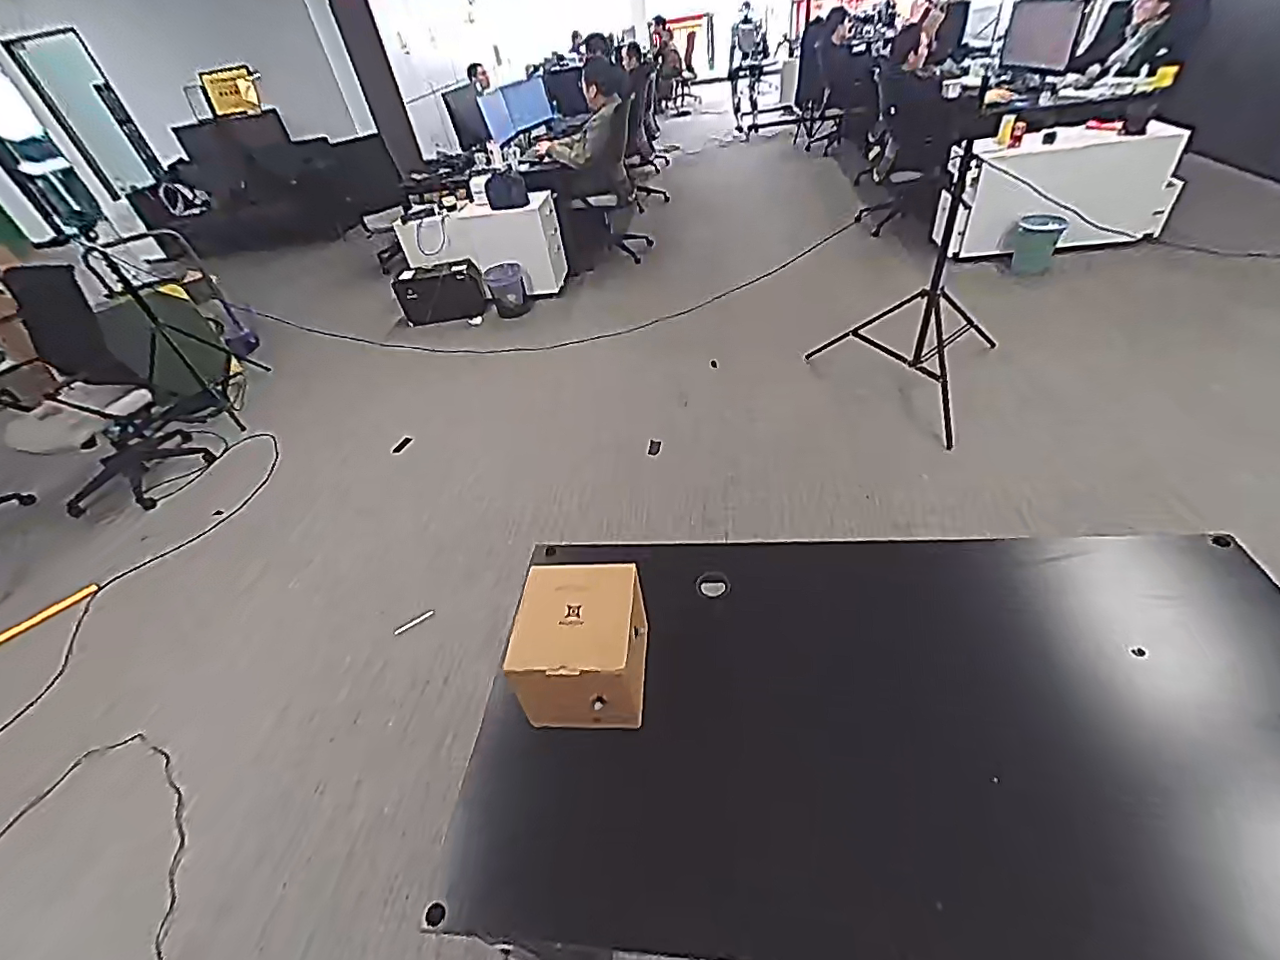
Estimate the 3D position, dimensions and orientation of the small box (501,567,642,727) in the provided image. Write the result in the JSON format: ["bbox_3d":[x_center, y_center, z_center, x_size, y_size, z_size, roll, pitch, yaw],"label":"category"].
[{"bbox_3d":[-0.089,0.253,0.814,0.168,0.176,0.179,-2,41,6],"label":"small box"}]
